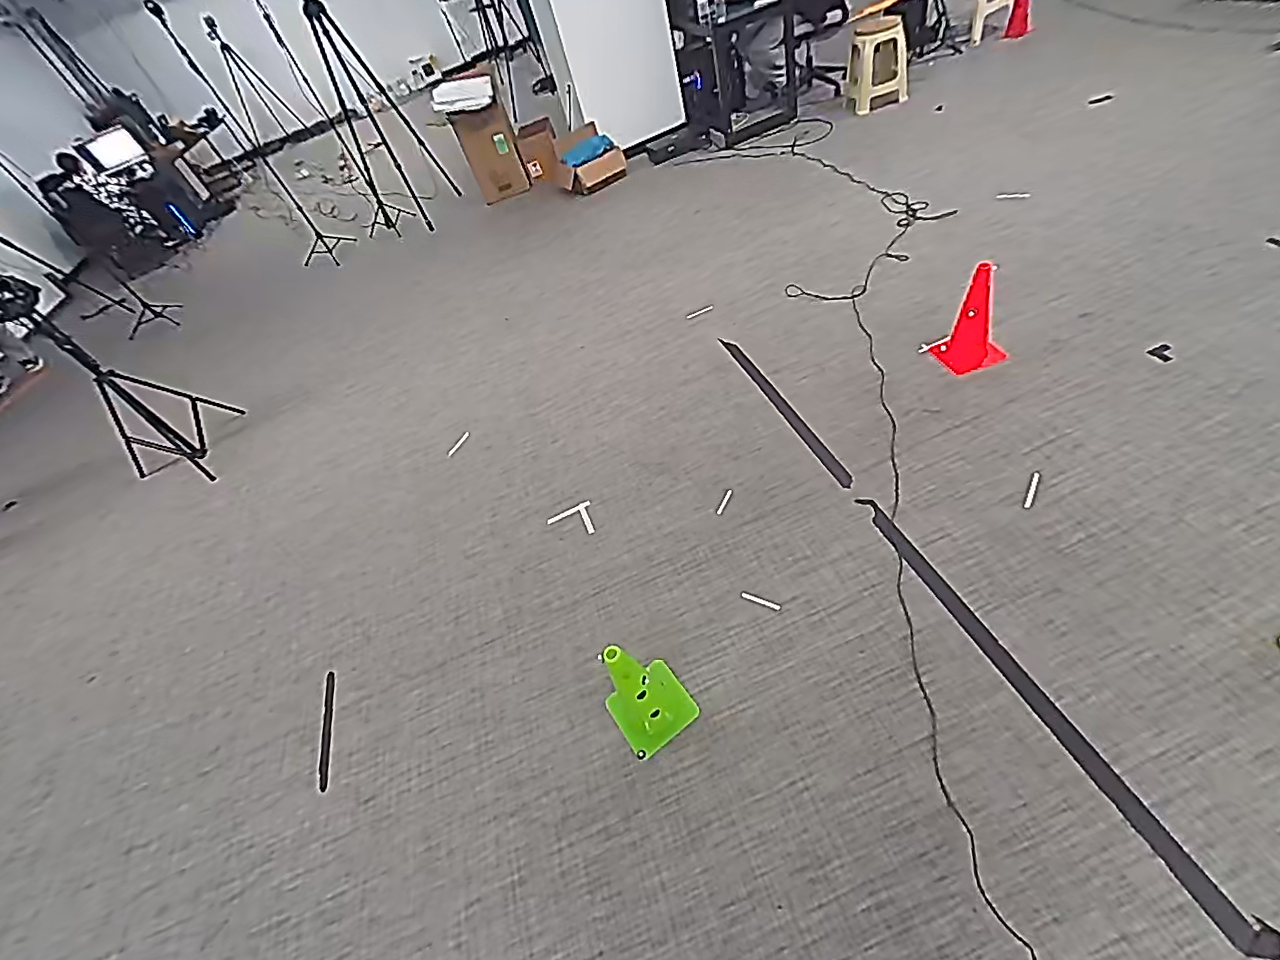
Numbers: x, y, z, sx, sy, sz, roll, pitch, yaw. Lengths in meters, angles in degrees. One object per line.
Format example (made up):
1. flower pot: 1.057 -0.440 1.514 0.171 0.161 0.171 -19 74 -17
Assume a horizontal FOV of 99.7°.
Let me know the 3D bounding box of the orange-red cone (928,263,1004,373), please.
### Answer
1. orange-red cone: 1.162 -0.585 1.885 0.198 0.360 0.199 -19 47 4

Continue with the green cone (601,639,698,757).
1. green cone: -0.015 0.496 1.340 0.200 0.368 0.202 -35 46 -13
